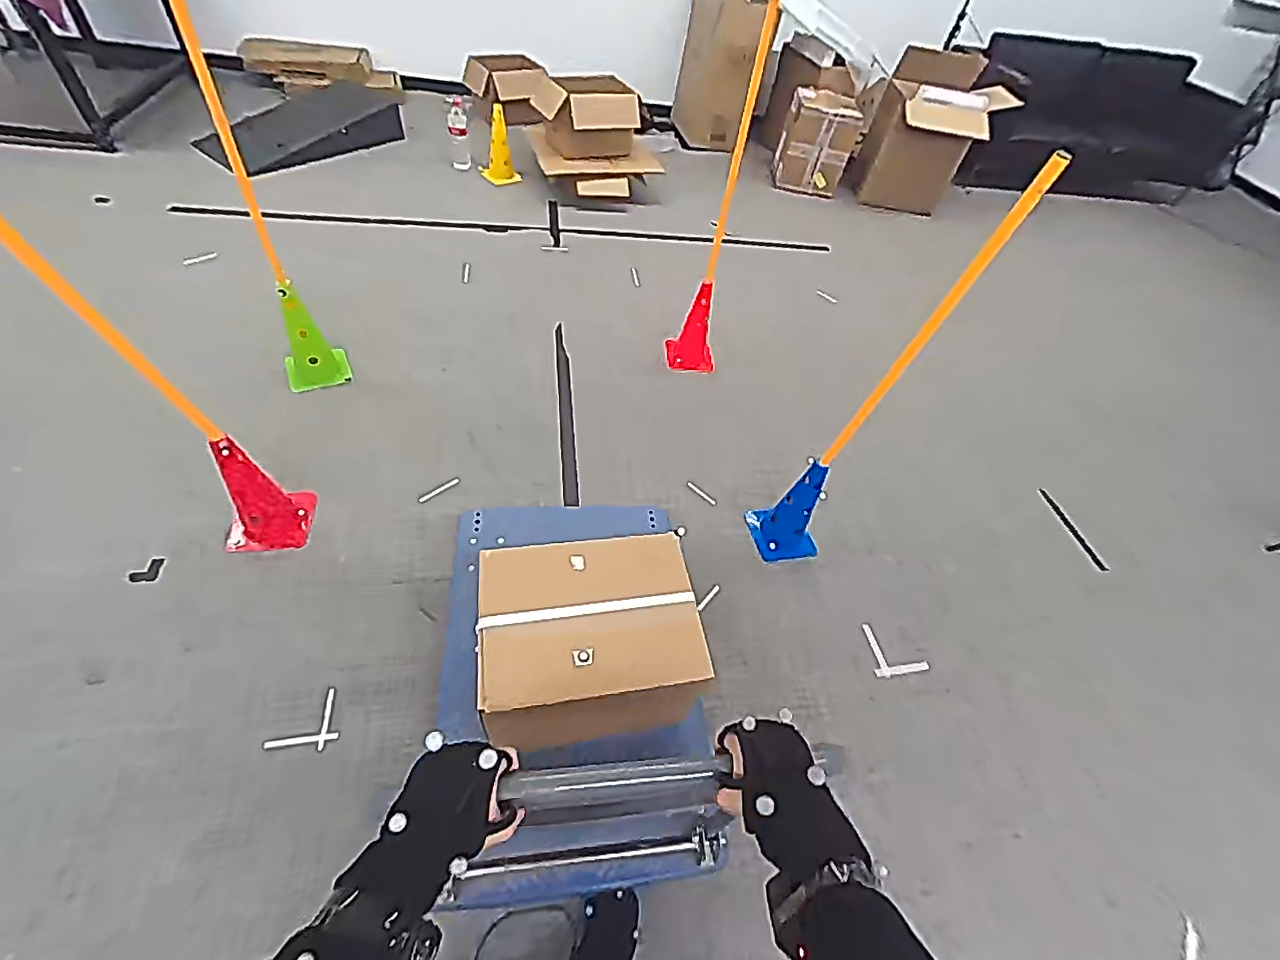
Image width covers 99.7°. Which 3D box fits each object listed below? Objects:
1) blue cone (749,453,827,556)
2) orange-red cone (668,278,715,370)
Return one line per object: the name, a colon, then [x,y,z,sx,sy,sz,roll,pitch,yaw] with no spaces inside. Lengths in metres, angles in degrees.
blue cone: [0.495,0.062,1.673,0.193,0.380,0.192,-4,51,-14]
orange-red cone: [0.246,-0.648,2.188,0.199,0.360,0.198,4,51,-8]
